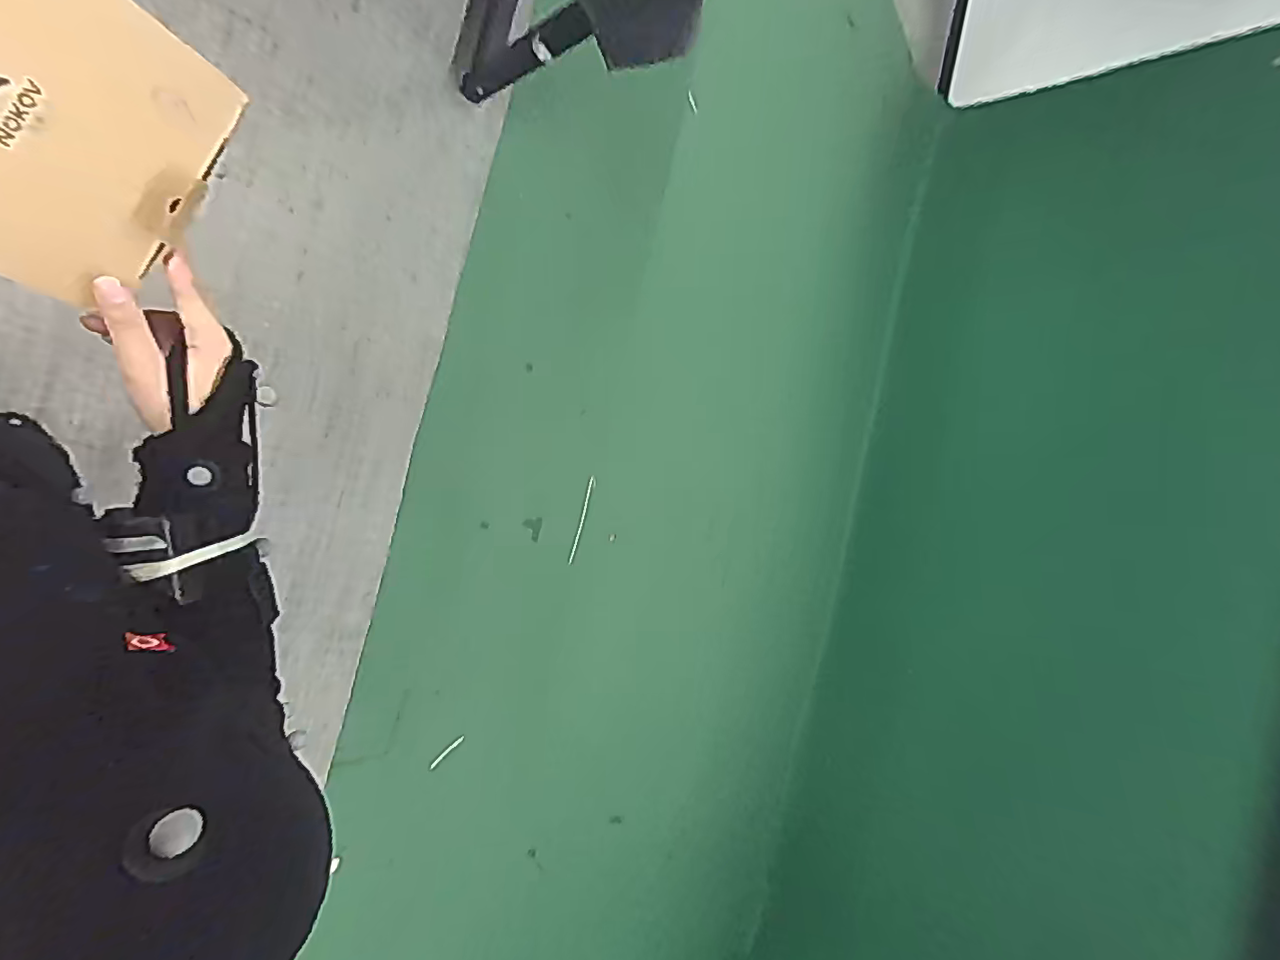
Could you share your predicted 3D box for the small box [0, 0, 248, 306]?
[{"bbox_3d":[-0.378,-0.234,0.313,0.179,0.176,0.168,30,92,-51],"label":"small box"}]
